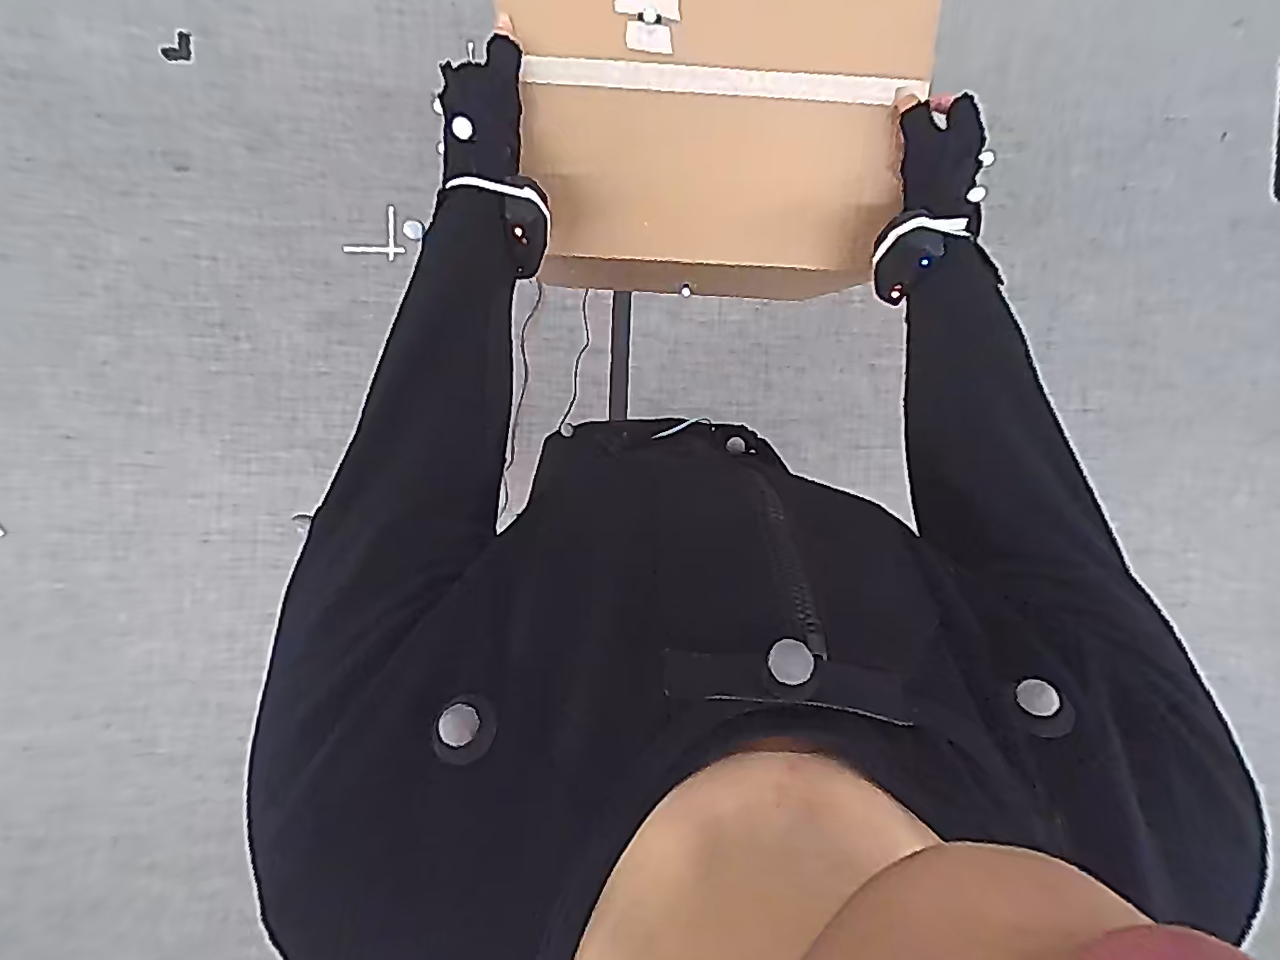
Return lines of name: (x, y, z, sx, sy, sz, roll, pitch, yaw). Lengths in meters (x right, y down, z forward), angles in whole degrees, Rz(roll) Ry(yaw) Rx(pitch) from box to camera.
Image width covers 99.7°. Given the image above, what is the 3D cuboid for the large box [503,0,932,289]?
large box: (0.068, -0.411, 0.658, 0.408, 0.320, 0.320, 2, 103, -2)
